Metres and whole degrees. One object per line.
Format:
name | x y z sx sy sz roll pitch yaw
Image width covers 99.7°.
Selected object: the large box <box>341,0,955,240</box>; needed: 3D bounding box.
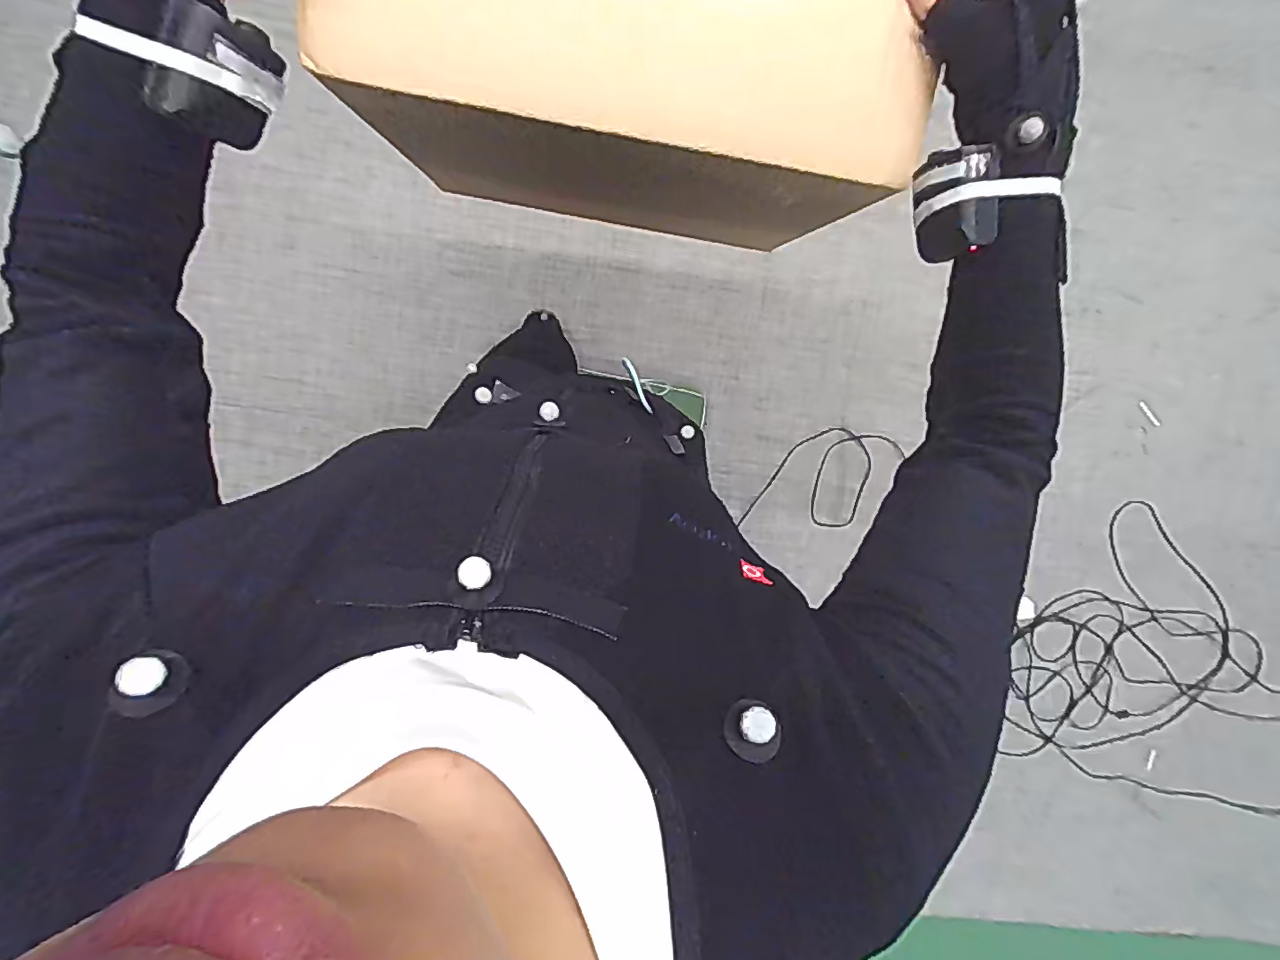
large box | 0.009 -0.425 0.474 0.408 0.320 0.320 7 105 -8
